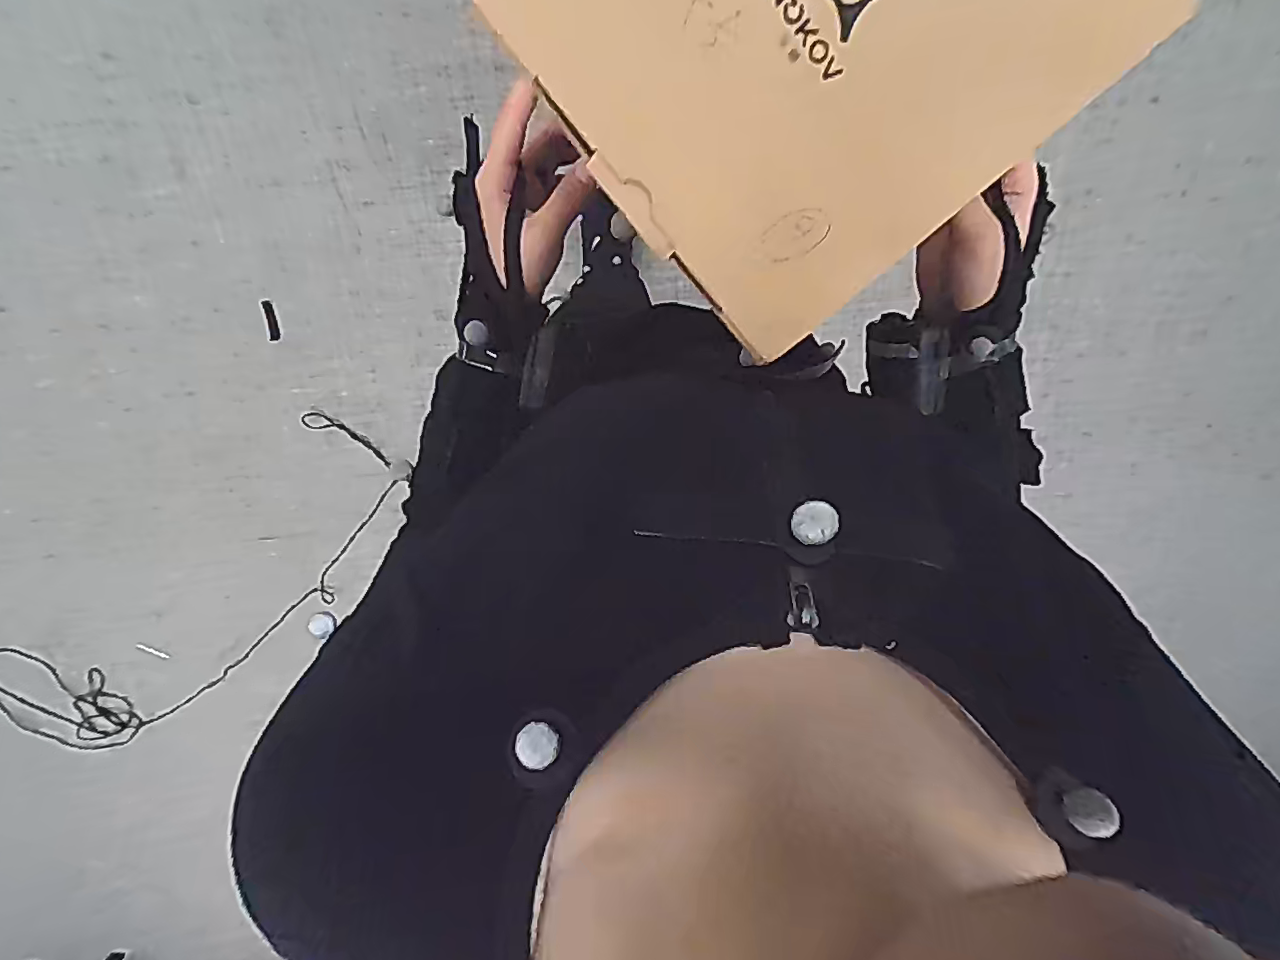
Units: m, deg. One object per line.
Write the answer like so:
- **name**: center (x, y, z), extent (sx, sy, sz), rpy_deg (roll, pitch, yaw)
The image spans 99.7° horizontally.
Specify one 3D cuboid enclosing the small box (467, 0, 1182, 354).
- **small box**: center (0.061, -0.189, 0.249), extent (0.179, 0.176, 0.168), rpy_deg (-39, 107, 18)
